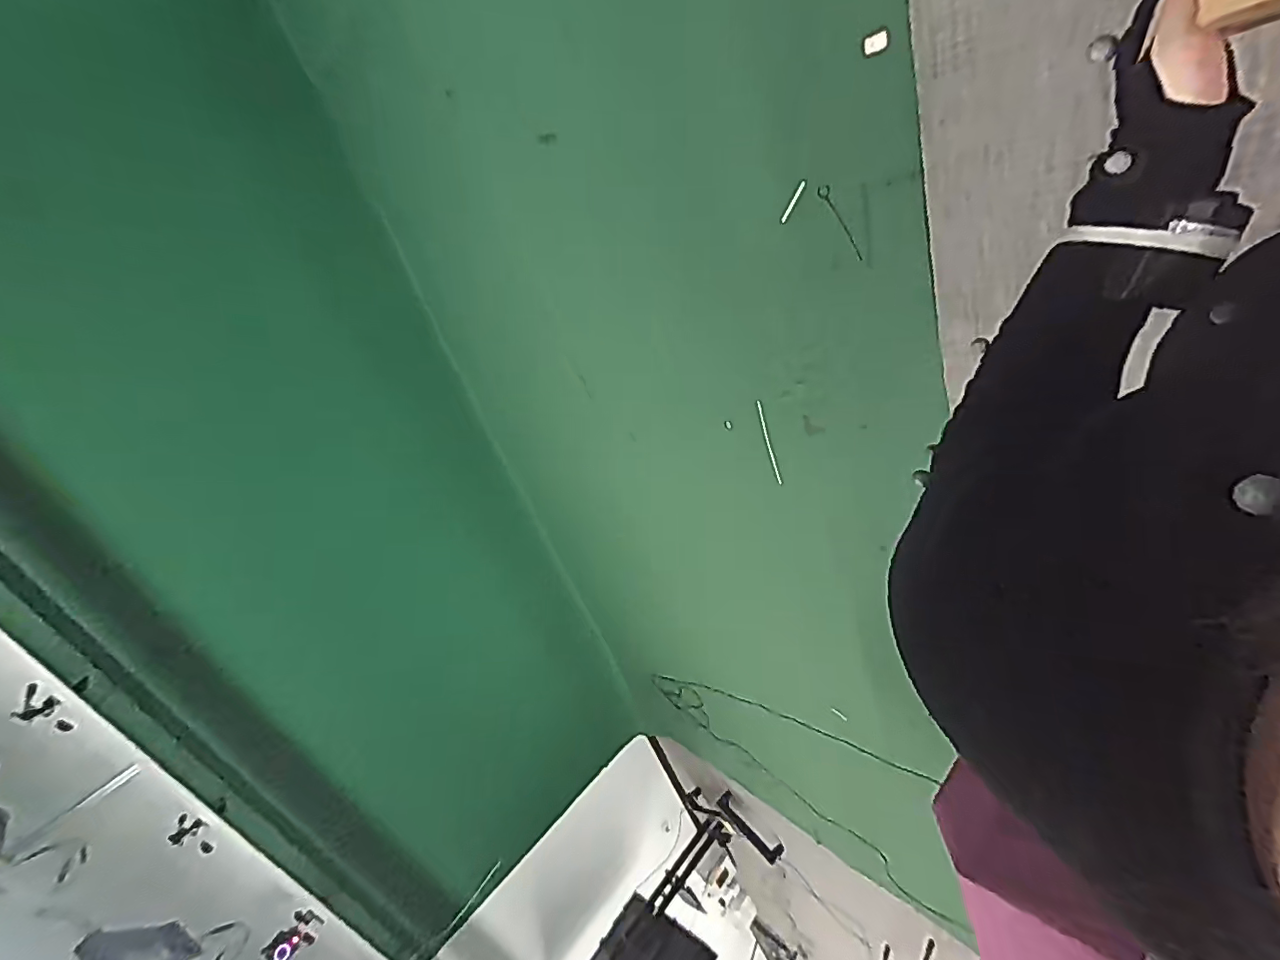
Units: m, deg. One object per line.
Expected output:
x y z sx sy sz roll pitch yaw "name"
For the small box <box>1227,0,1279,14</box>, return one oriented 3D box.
0.333 -0.313 0.195 0.168 0.176 0.179 9 123 48 "small box"
